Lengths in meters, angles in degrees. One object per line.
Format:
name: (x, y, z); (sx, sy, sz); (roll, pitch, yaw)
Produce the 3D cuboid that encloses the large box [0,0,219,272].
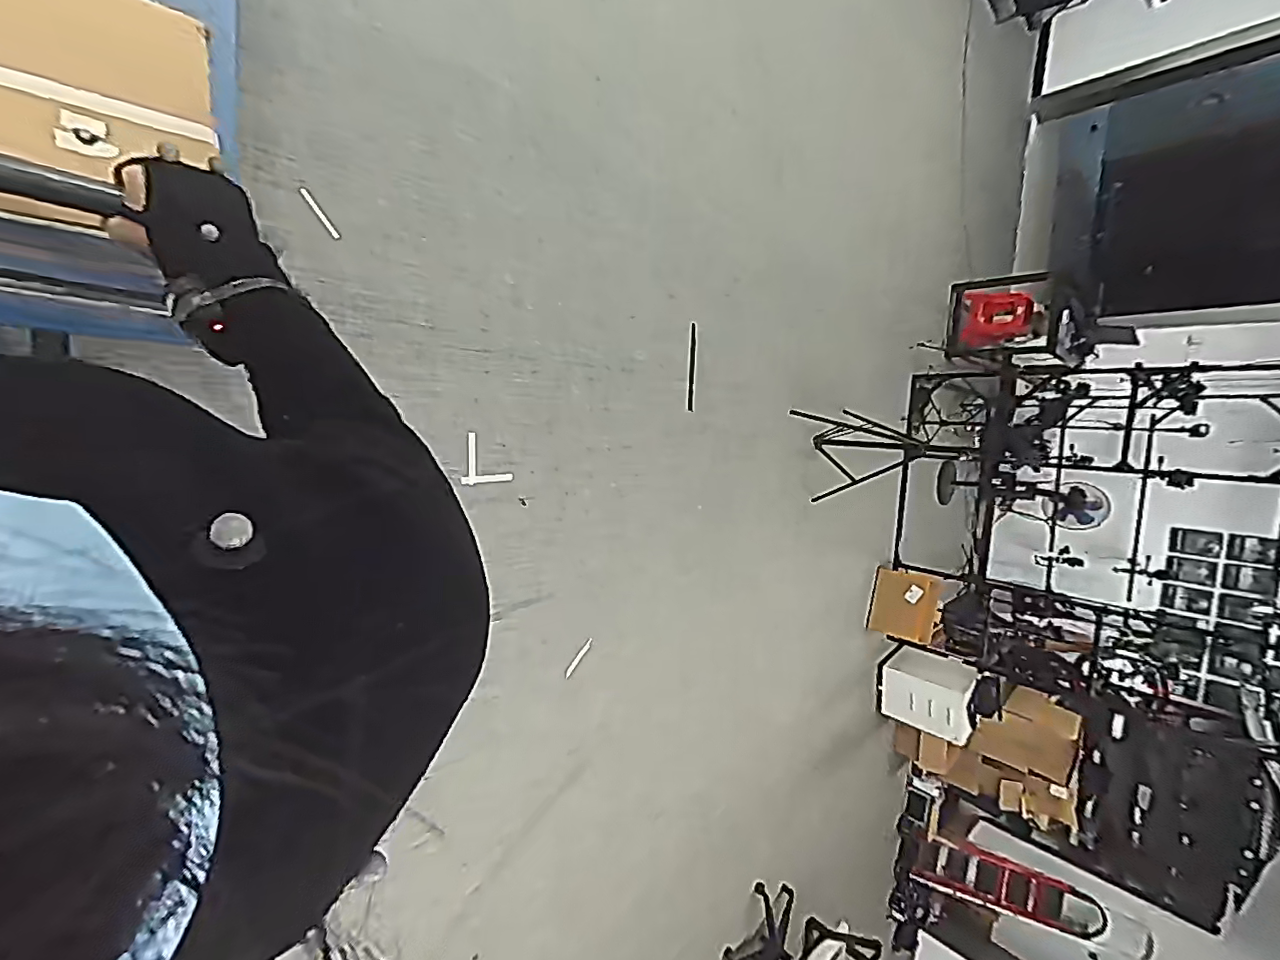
large box: (-0.881, -0.510, 0.762); (0.408, 0.320, 0.320); (-6, 101, -45)
